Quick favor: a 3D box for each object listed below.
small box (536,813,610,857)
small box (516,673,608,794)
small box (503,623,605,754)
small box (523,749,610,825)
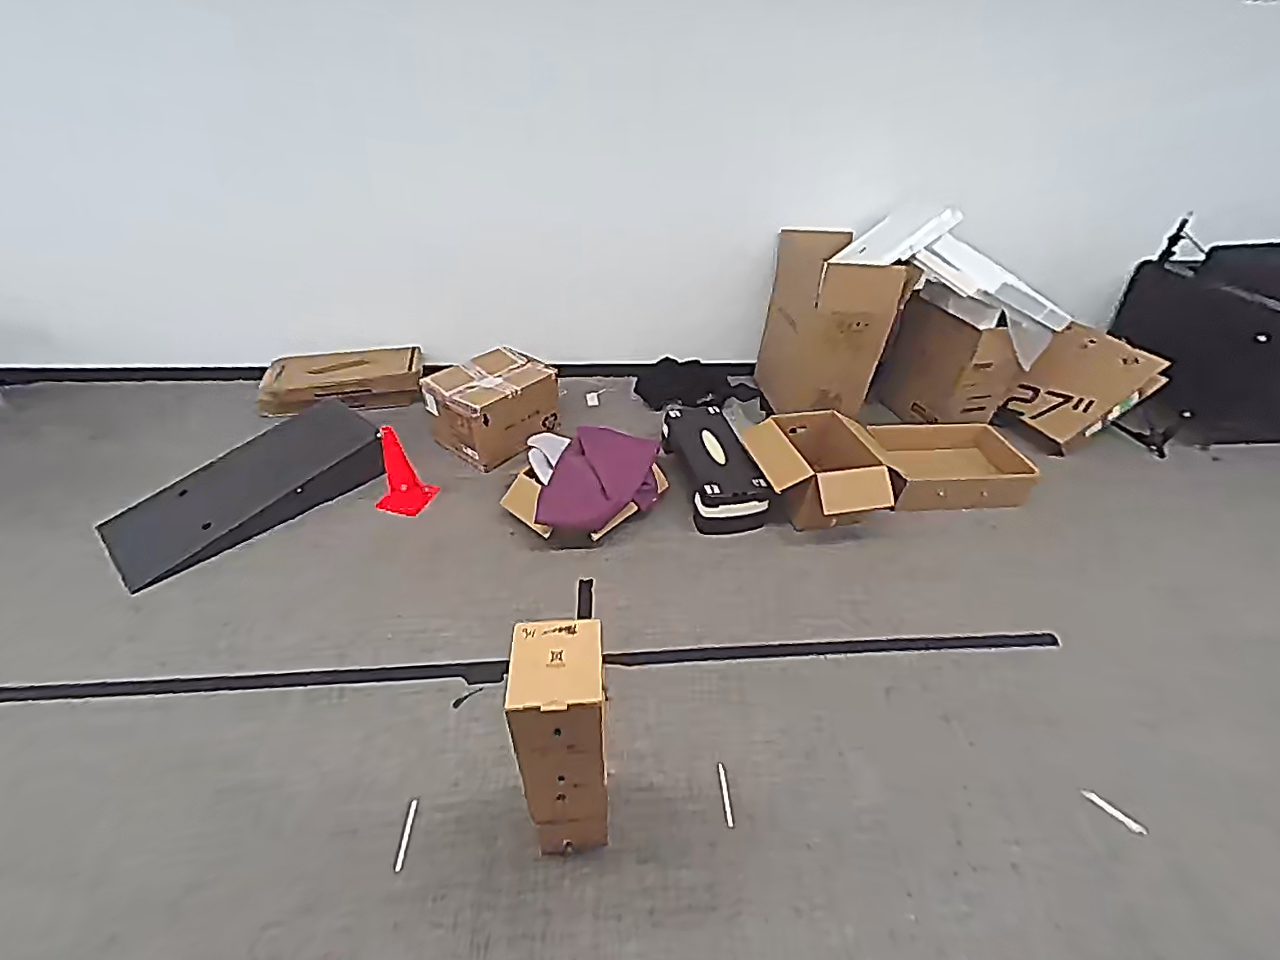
[{"bbox_3d":[-0.163,0.781,1.316,0.168,0.176,0.179,-5,40,-8],"label":"small box"},{"bbox_3d":[-0.152,0.520,1.115,0.168,0.176,0.179,0,39,-2],"label":"small box"},{"bbox_3d":[-0.151,0.393,1.011,0.168,0.176,0.179,-2,39,-4],"label":"small box"},{"bbox_3d":[-0.159,0.651,1.215,0.179,0.176,0.168,-2,39,-5],"label":"small box"}]
